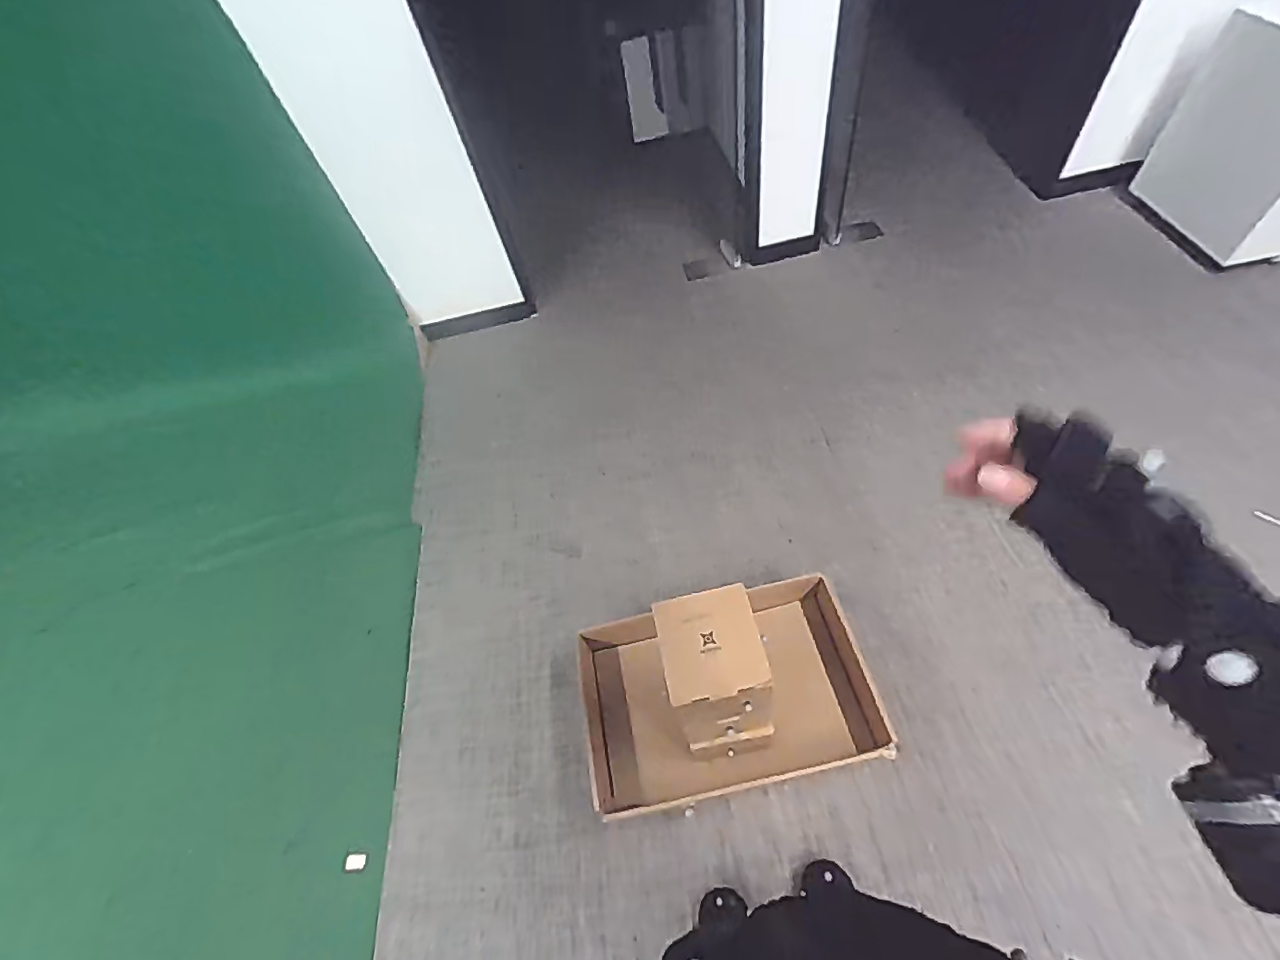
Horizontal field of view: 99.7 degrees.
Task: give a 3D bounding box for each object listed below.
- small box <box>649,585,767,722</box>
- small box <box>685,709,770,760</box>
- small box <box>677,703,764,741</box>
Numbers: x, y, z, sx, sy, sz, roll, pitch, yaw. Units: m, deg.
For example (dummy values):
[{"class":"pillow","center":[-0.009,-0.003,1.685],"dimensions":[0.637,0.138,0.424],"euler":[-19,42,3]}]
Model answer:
[{"class":"small box","center":[0.120,0.313,0.953],"dimensions":[0.168,0.176,0.179],"euler":[-13,53,1]},{"class":"small box","center":[0.185,0.519,1.219],"dimensions":[0.179,0.176,0.168],"euler":[-12,53,4]},{"class":"small box","center":[0.149,0.416,1.100],"dimensions":[0.168,0.176,0.179],"euler":[-16,53,1]}]
